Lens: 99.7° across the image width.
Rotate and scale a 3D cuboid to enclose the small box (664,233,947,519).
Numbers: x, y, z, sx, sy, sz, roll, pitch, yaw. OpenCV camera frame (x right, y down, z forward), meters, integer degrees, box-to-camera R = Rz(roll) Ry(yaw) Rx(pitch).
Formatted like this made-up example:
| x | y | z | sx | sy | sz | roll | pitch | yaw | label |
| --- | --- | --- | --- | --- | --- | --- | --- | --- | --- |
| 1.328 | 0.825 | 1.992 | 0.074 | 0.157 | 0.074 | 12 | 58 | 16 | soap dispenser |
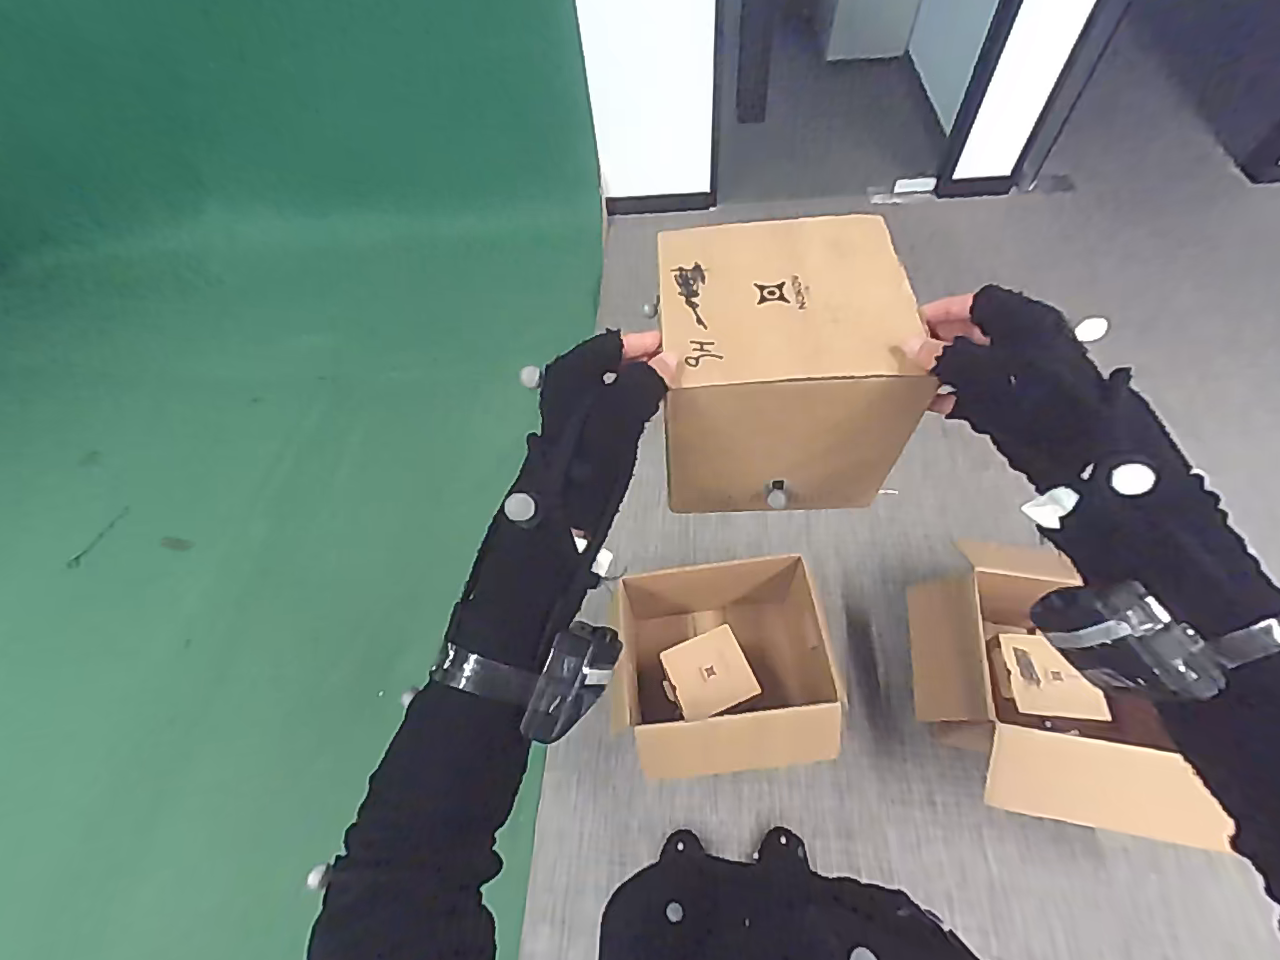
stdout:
| x | y | z | sx | sy | sz | roll | pitch | yaw | label |
| --- | --- | --- | --- | --- | --- | --- | --- | --- | --- |
| 0.110 | -0.078 | 0.450 | 0.179 | 0.176 | 0.168 | -2 | 57 | 2 | small box |
